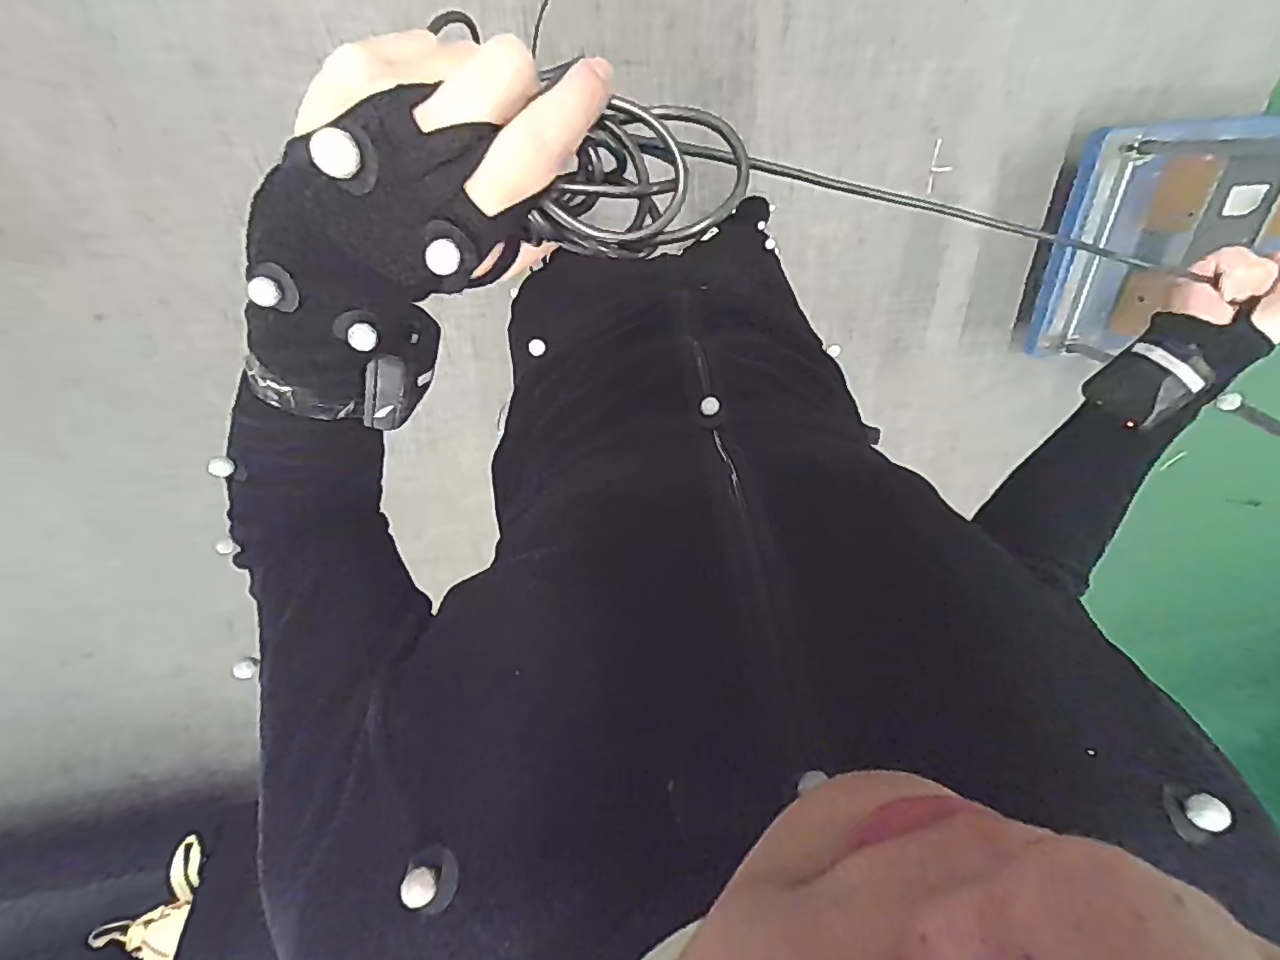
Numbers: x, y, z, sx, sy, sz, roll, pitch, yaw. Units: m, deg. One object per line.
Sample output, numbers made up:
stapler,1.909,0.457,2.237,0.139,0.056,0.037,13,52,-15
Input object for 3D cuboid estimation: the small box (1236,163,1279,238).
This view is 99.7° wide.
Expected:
small box,1.701,-0.714,1.371,0.179,0.176,0.168,-10,122,-5

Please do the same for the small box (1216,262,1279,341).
small box,1.731,-0.499,1.500,0.179,0.176,0.168,-10,120,-4

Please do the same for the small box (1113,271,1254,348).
small box,1.465,-0.467,1.471,0.179,0.176,0.168,-6,121,-6
